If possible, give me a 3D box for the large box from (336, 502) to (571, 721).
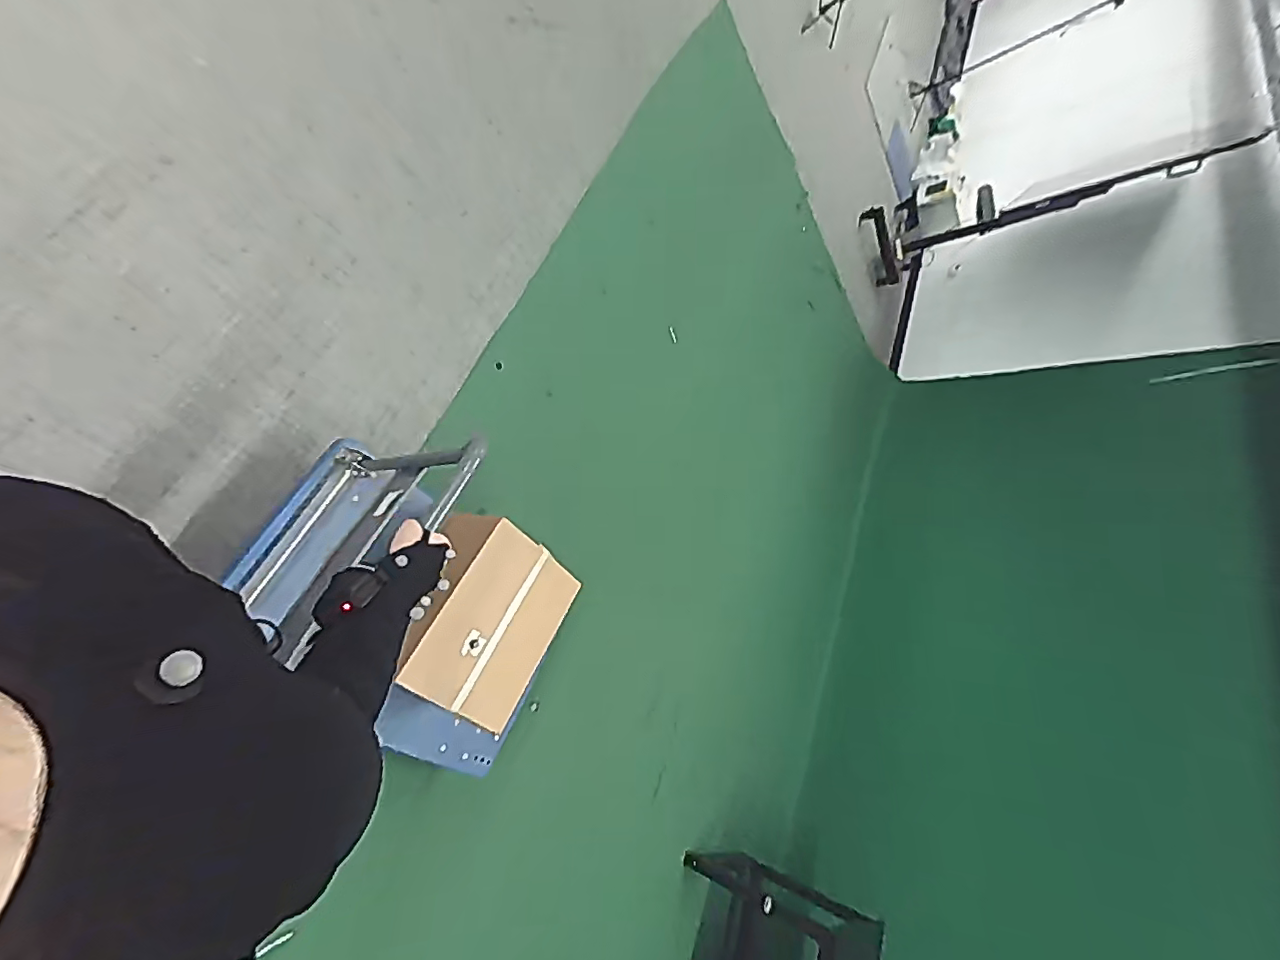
[{"bbox_3d":[-0.448,0.306,1.342,0.320,0.320,0.408,50,56,-36],"label":"large box"}]
